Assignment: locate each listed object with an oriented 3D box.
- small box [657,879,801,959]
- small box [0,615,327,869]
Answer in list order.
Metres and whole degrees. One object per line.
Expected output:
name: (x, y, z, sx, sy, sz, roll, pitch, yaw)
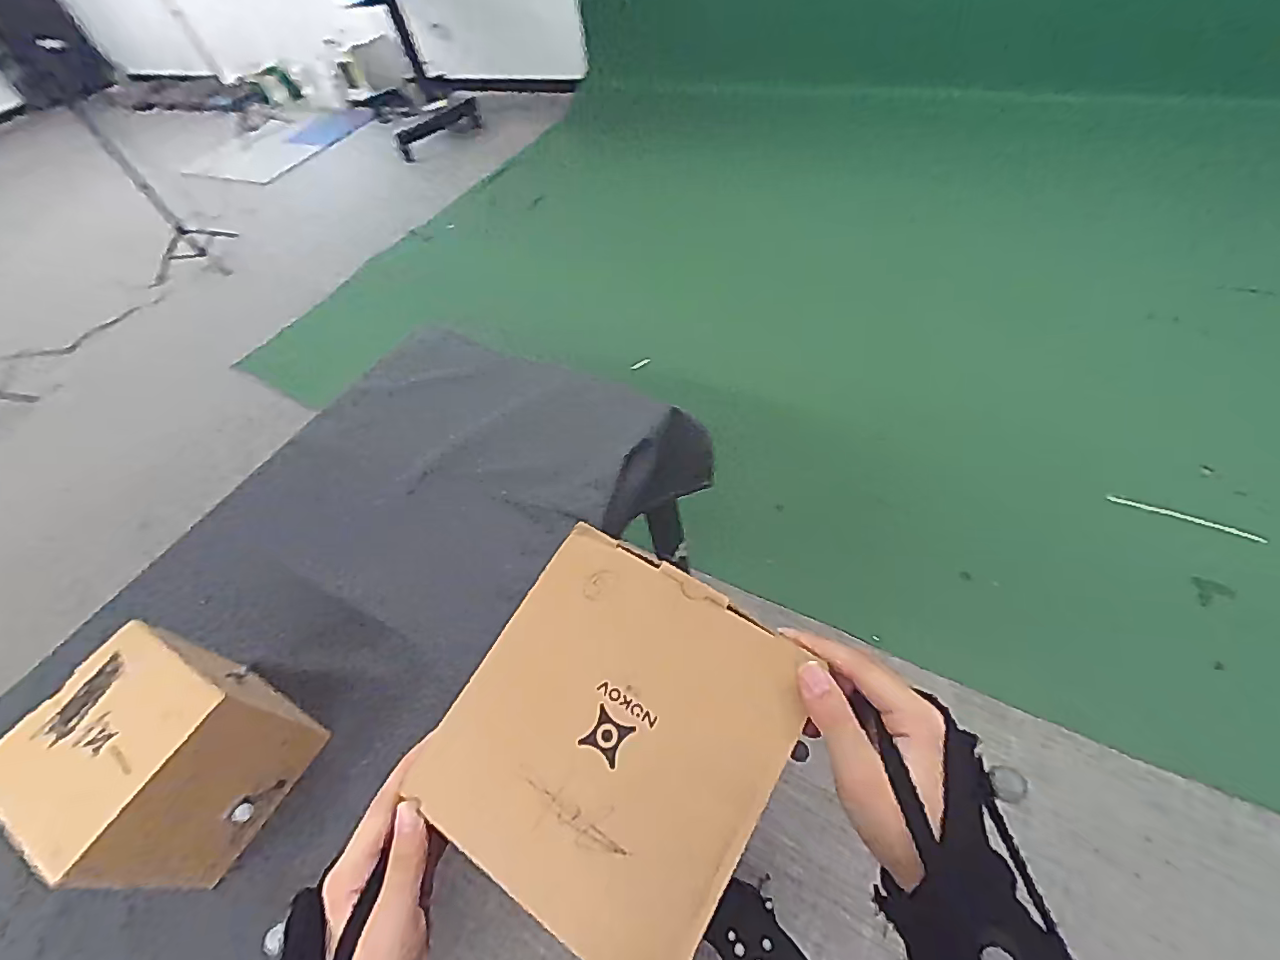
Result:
small box: (0.155, 0.878, 0.972, 0.168, 0.176, 0.179, 48, 58, -10)
small box: (-0.484, 0.276, 0.566, 0.179, 0.176, 0.168, 20, 60, 23)
